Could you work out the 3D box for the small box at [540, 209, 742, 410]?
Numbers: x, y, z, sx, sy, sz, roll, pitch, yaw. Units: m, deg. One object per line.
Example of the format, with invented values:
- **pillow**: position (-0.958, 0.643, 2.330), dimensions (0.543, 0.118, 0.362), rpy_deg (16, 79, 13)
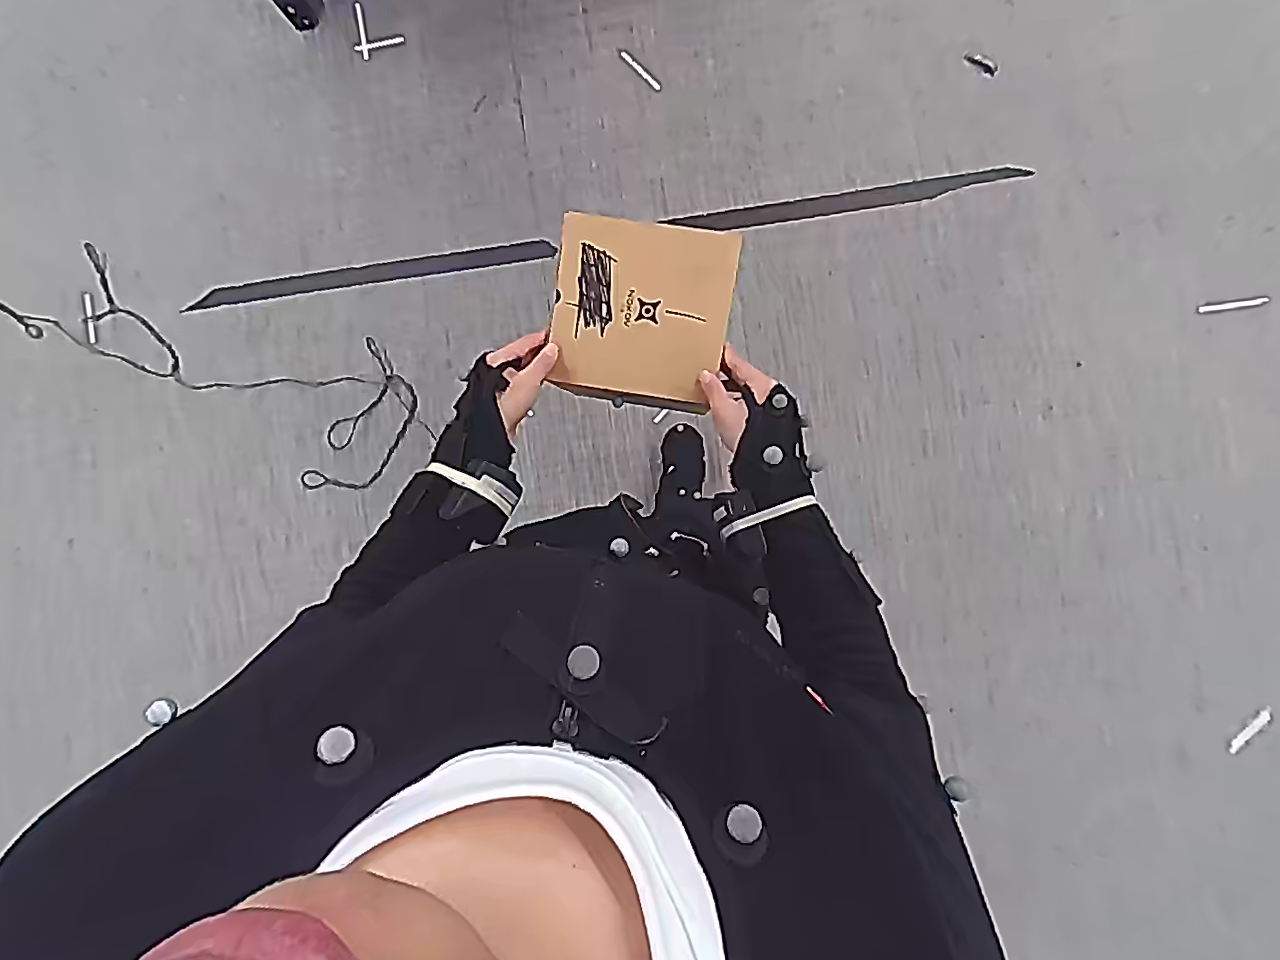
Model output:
- **small box**: position (0.005, -0.173, 0.601), dimensions (0.179, 0.176, 0.168), rpy_deg (9, 95, 3)
